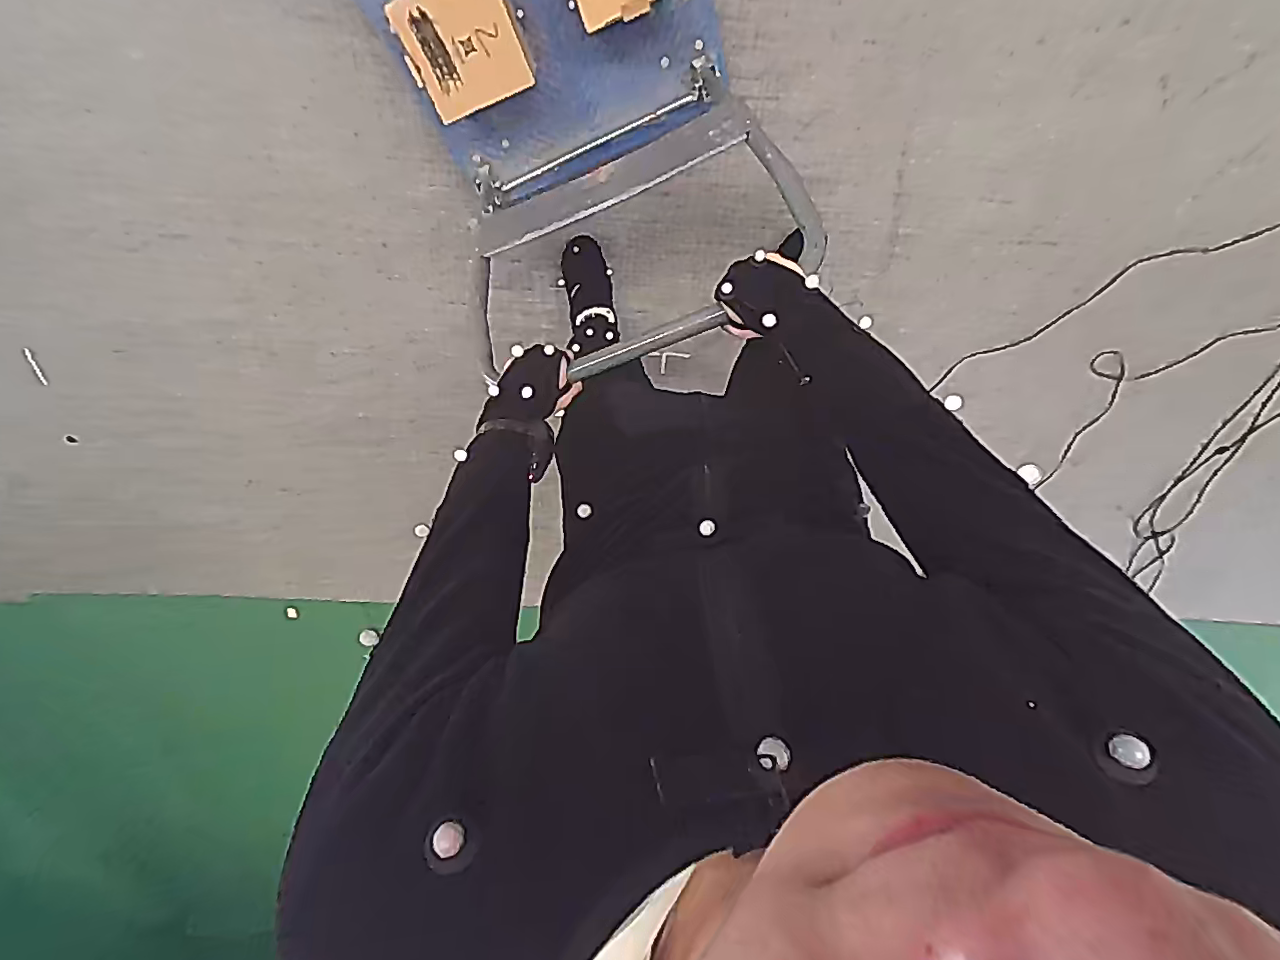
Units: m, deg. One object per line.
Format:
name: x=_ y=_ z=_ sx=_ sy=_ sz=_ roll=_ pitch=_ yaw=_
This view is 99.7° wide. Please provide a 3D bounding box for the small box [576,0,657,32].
small box: x=-0.045 y=-0.855 z=0.850 sx=0.168 sy=0.176 sz=0.179 roll=-20 pitch=137 yaw=10
